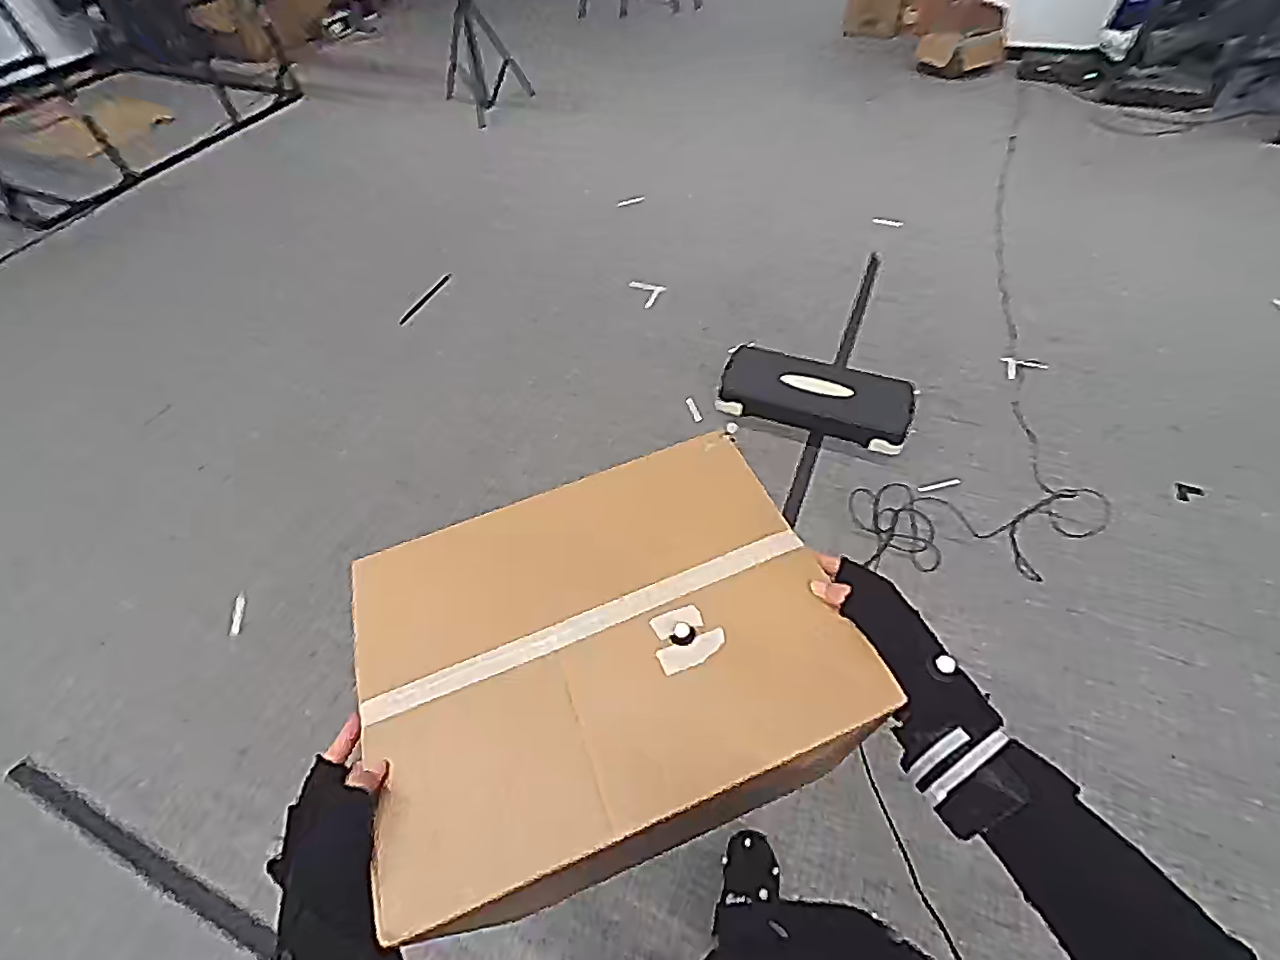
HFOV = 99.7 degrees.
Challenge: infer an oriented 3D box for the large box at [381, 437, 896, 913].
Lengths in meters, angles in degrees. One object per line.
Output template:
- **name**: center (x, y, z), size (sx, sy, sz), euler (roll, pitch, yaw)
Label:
- **large box**: center (-0.015, 0.217, 0.607), size (0.408, 0.320, 0.320), euler (-19, 53, -8)
